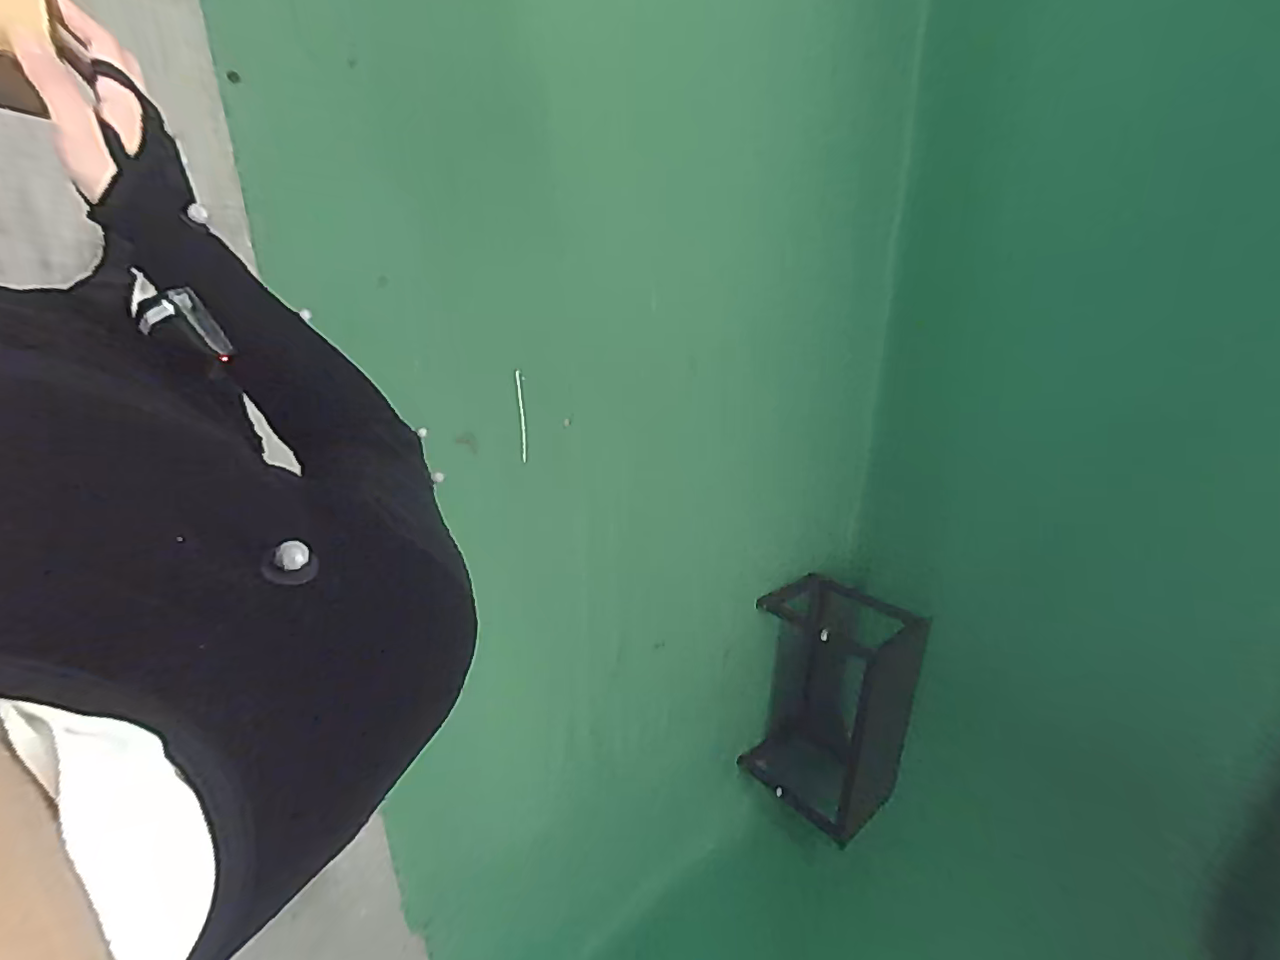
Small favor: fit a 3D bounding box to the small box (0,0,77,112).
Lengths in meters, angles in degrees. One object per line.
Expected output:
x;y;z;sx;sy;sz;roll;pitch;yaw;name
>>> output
-0.508;-0.388;0.360;0.168;0.176;0.179;-7;108;-41;small box
